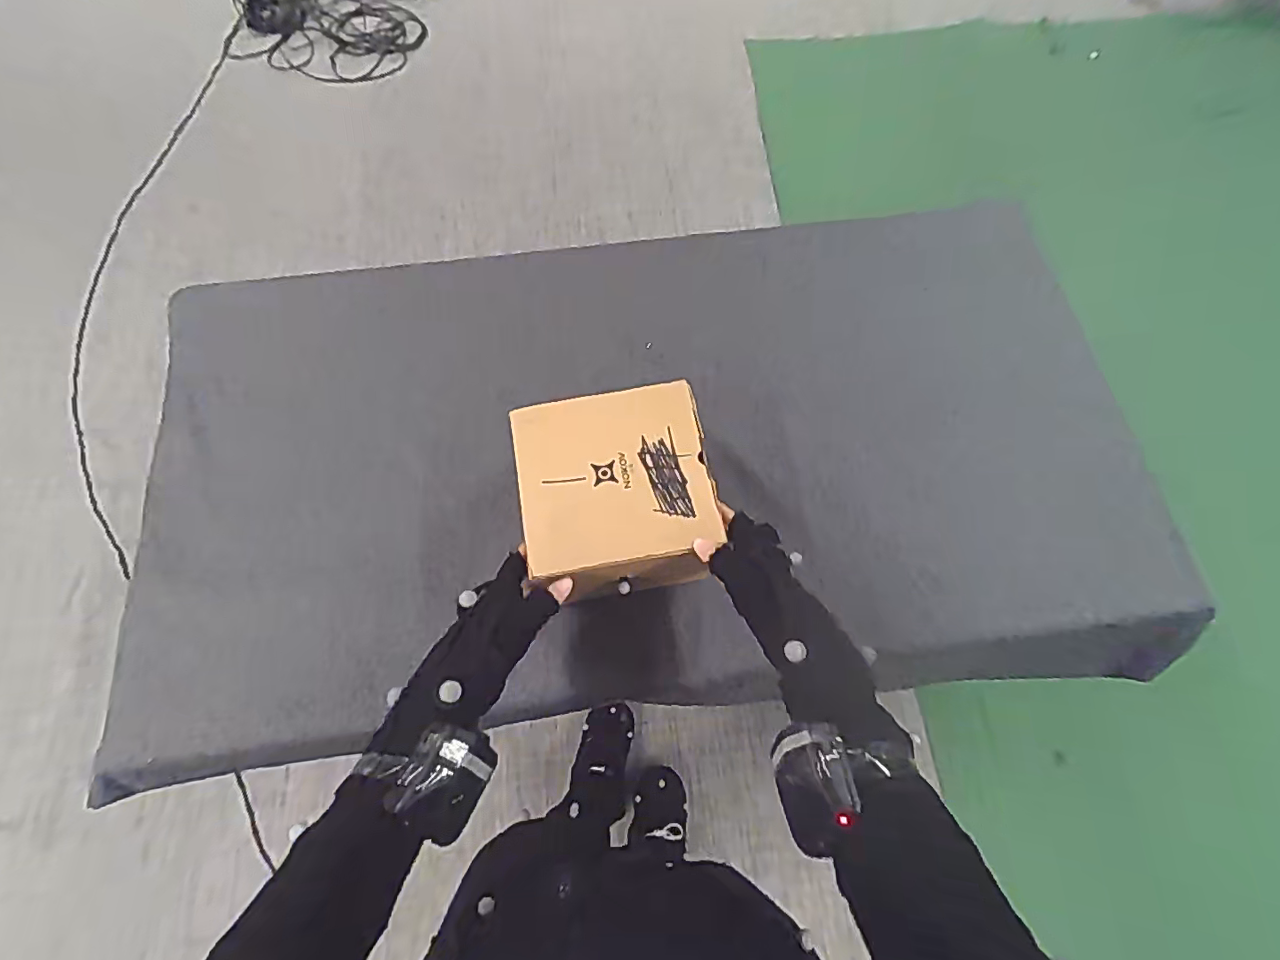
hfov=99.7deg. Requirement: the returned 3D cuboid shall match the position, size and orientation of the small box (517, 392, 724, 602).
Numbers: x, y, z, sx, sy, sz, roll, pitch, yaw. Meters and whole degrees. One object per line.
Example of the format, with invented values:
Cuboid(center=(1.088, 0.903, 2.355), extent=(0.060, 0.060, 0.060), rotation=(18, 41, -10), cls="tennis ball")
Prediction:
Cuboid(center=(-0.023, 0.028, 0.580), extent=(0.179, 0.176, 0.168), rotation=(-10, 69, -3), cls="small box")
